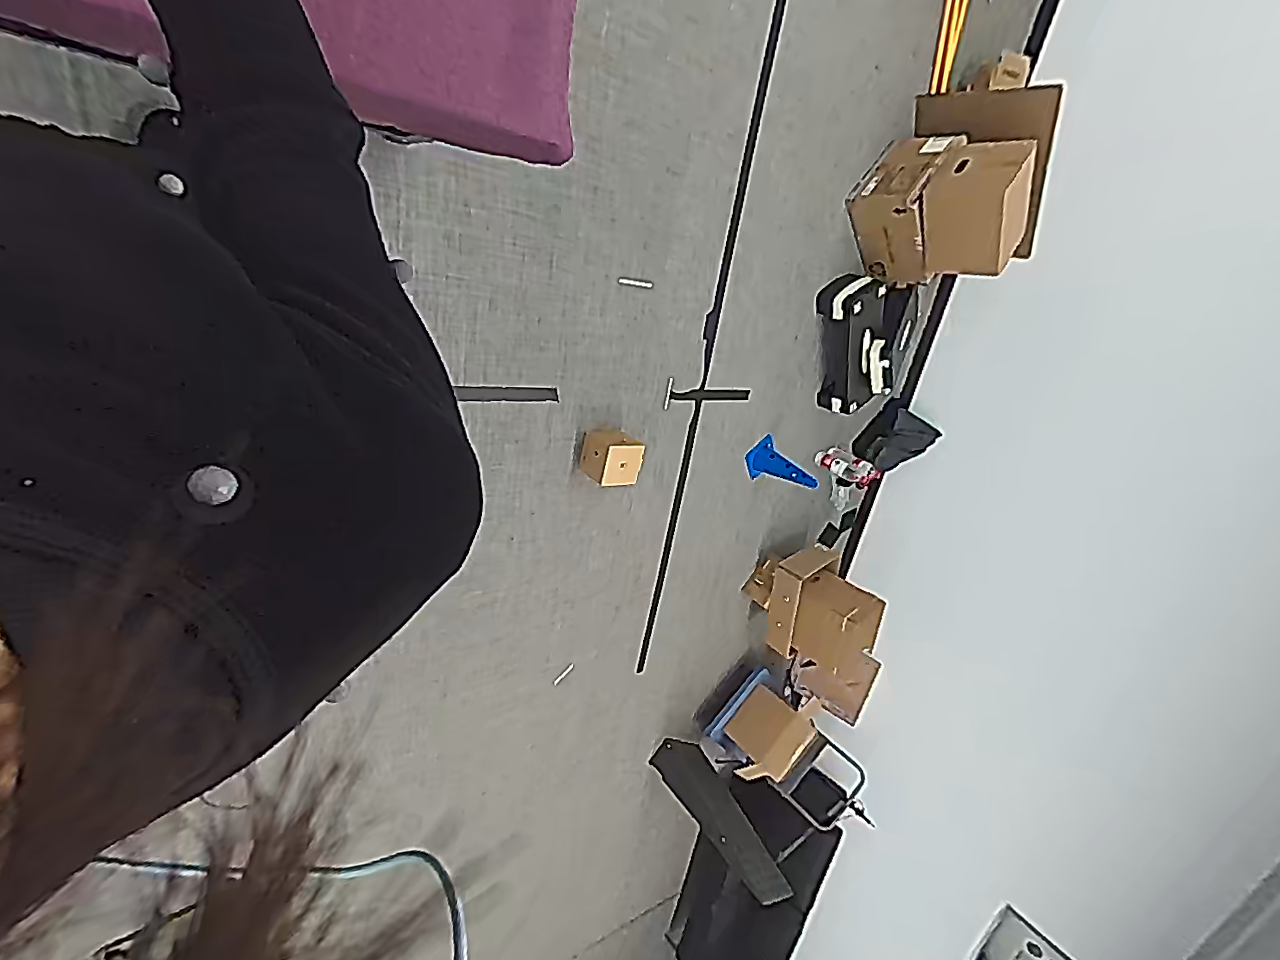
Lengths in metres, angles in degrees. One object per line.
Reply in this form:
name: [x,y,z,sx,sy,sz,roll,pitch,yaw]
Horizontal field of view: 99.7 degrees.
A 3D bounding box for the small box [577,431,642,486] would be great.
small box: [-0.123,-0.088,2.108,0.179,0.176,0.168,-4,116,-41]
